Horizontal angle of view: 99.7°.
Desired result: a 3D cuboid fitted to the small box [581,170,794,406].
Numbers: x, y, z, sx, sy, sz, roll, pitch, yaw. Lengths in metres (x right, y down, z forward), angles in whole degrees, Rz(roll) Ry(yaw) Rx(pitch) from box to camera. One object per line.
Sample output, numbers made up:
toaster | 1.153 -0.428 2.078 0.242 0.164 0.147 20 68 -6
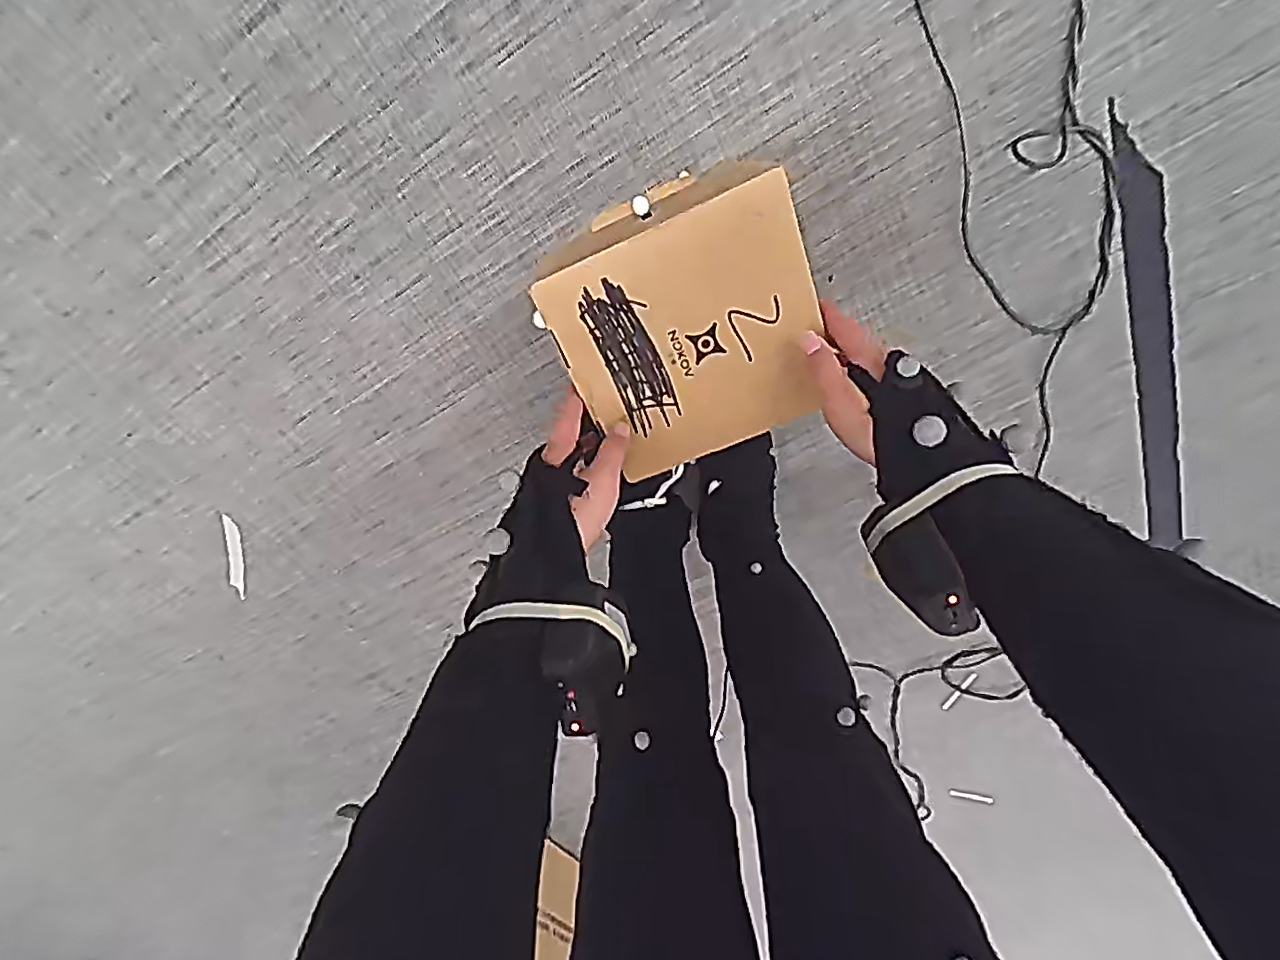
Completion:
small box | 0.047 -0.213 0.590 0.168 0.176 0.179 -20 119 10
